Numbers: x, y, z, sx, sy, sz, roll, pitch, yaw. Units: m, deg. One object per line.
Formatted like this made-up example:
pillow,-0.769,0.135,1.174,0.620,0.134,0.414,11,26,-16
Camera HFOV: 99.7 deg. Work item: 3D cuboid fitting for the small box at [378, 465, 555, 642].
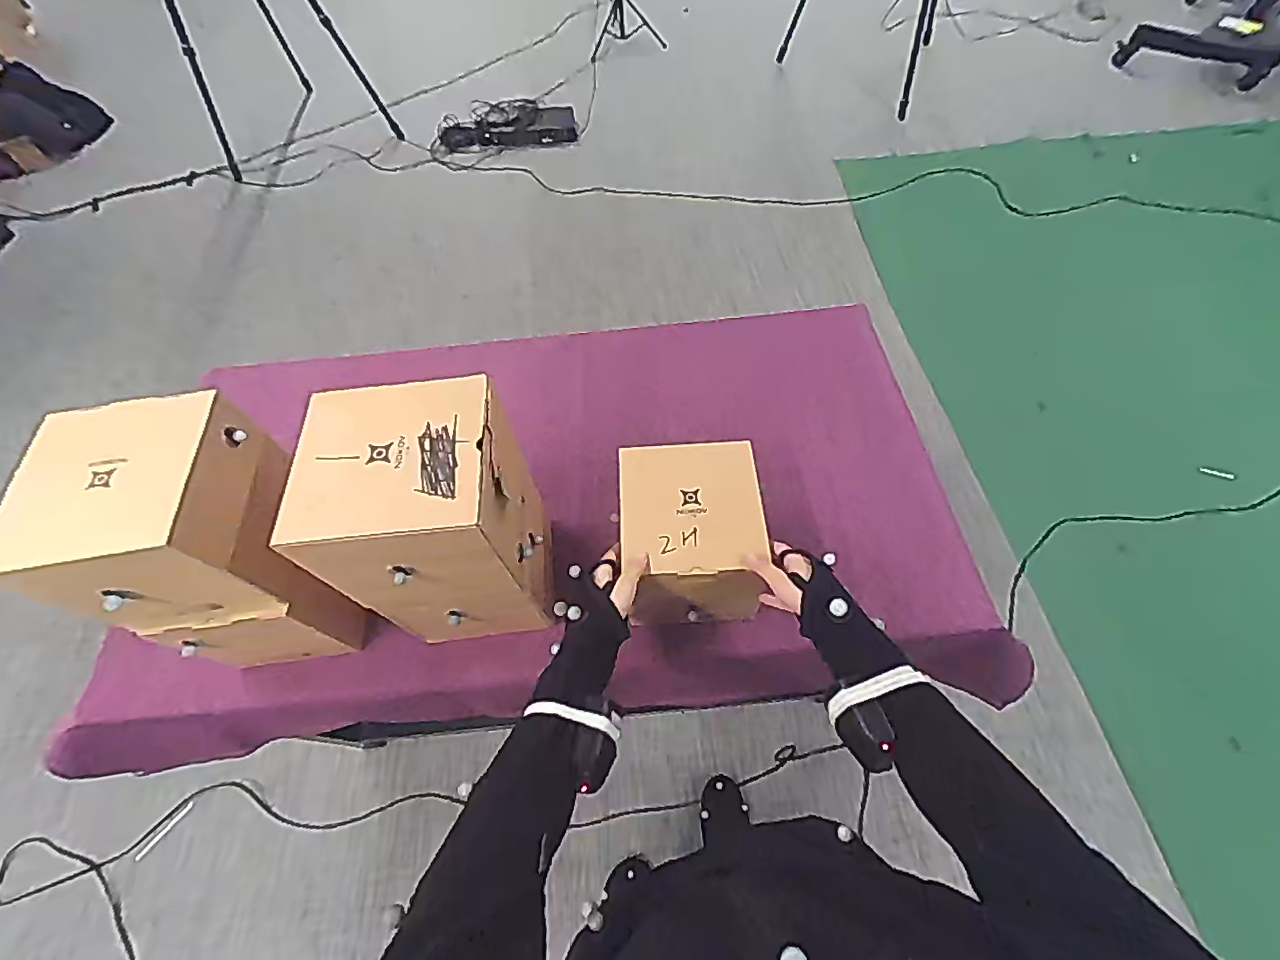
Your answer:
small box,-0.214,0.102,0.698,0.179,0.176,0.168,-7,59,0

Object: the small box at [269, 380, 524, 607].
small box,-0.223,0.022,0.555,0.179,0.176,0.168,-6,59,1

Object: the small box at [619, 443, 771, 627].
small box,0.062,0.074,0.690,0.168,0.176,0.179,-3,57,2

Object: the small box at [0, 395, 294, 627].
small box,-0.482,0.042,0.563,0.168,0.176,0.179,-10,58,-2
